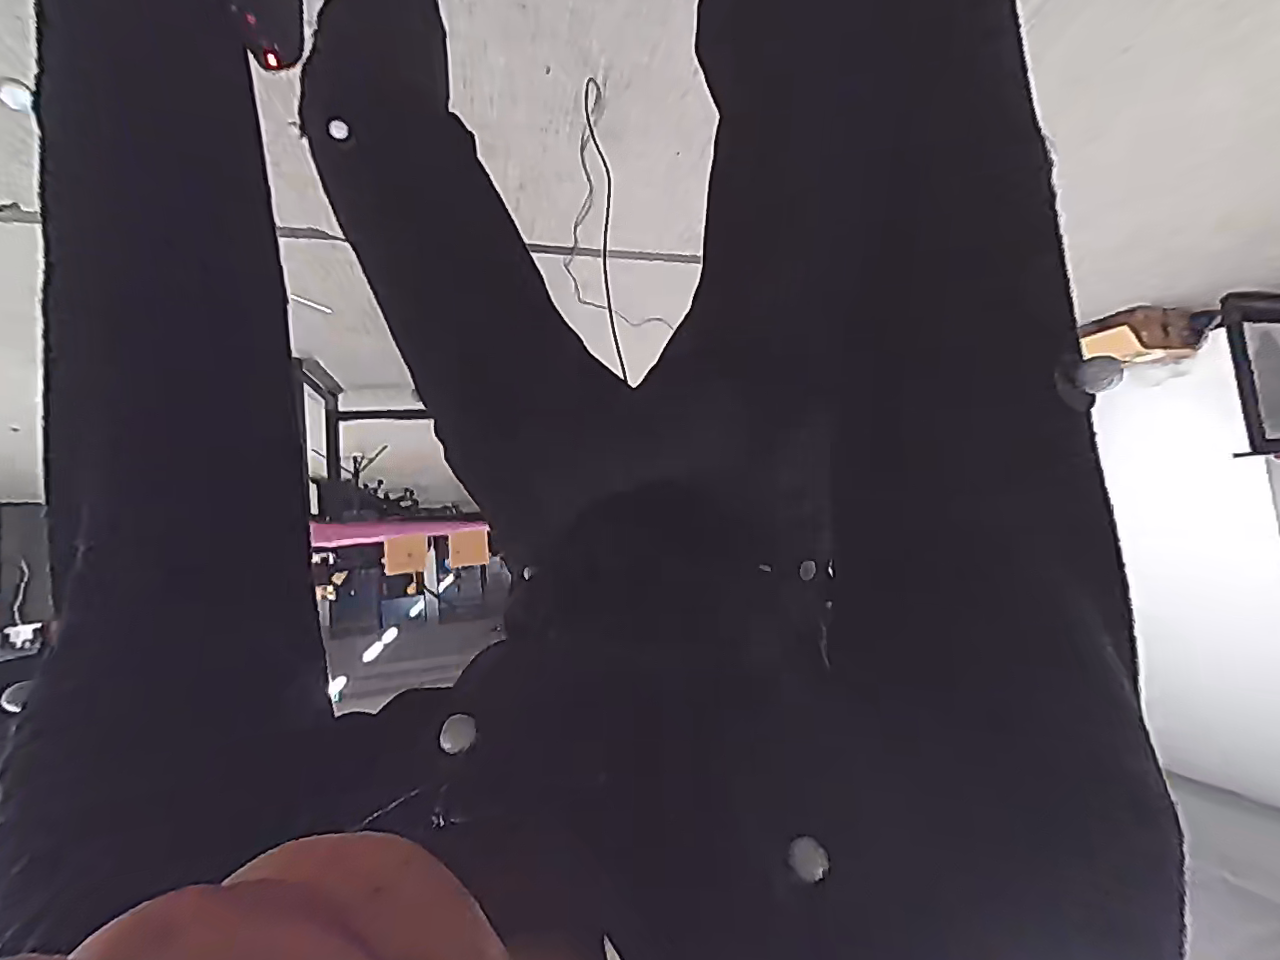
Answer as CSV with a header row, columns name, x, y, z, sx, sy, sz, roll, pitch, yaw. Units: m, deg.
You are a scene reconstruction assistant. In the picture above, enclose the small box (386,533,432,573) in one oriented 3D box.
name,x,y,z,sx,sy,sz,roll,pitch,yaw
small box,-1.086,0.342,2.547,0.179,0.176,0.168,-5,173,-18
